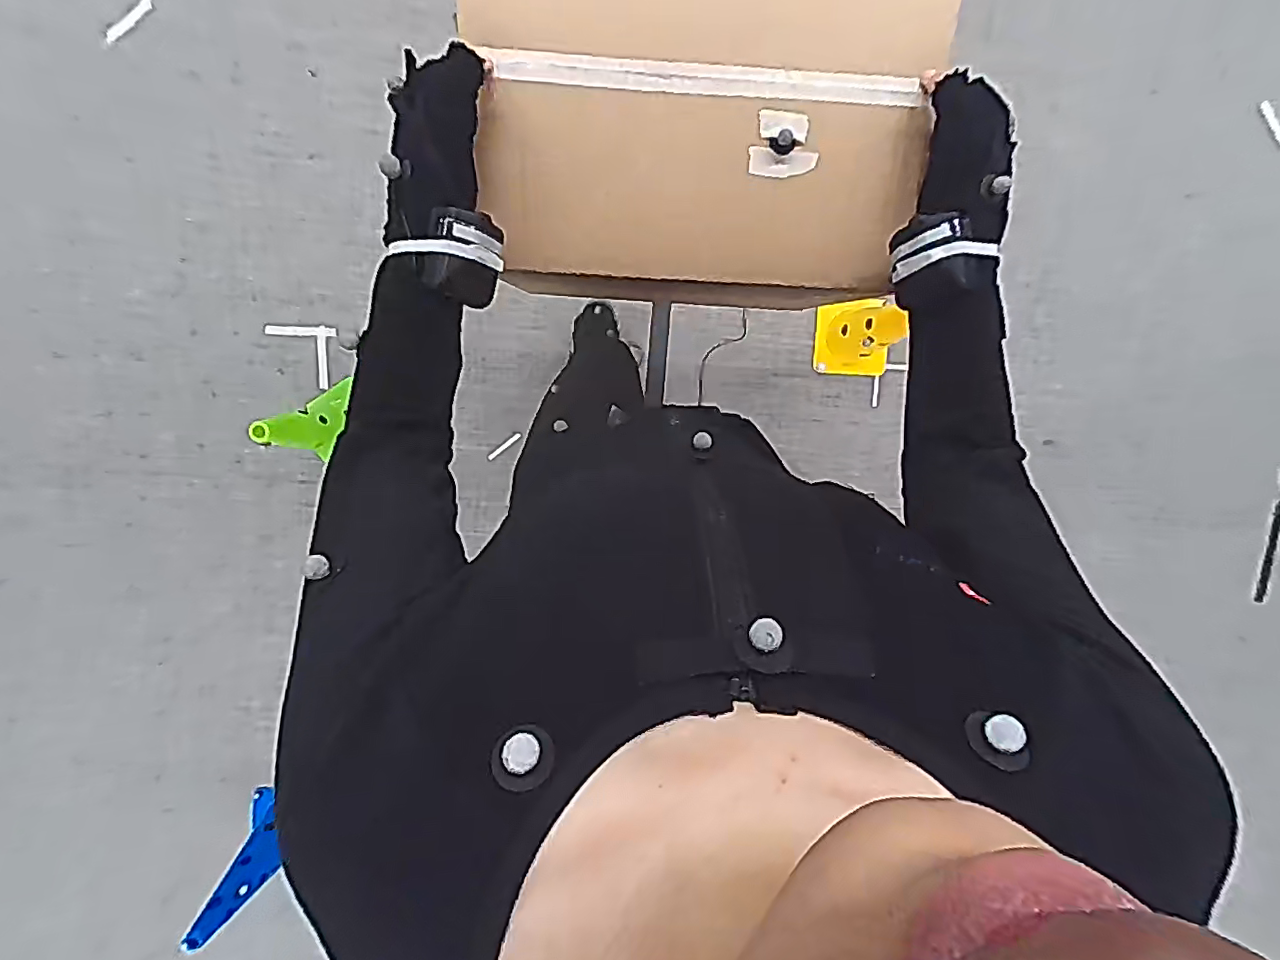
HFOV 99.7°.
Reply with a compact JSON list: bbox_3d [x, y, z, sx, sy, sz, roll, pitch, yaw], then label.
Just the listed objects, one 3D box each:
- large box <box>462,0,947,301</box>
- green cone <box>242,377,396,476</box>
[{"bbox_3d":[0.045,-0.377,0.598,0.408,0.320,0.320,2,105,-3],"label":"large box"},{"bbox_3d":[-0.758,-0.117,1.231,0.202,0.368,0.200,-34,96,3],"label":"green cone"}]
